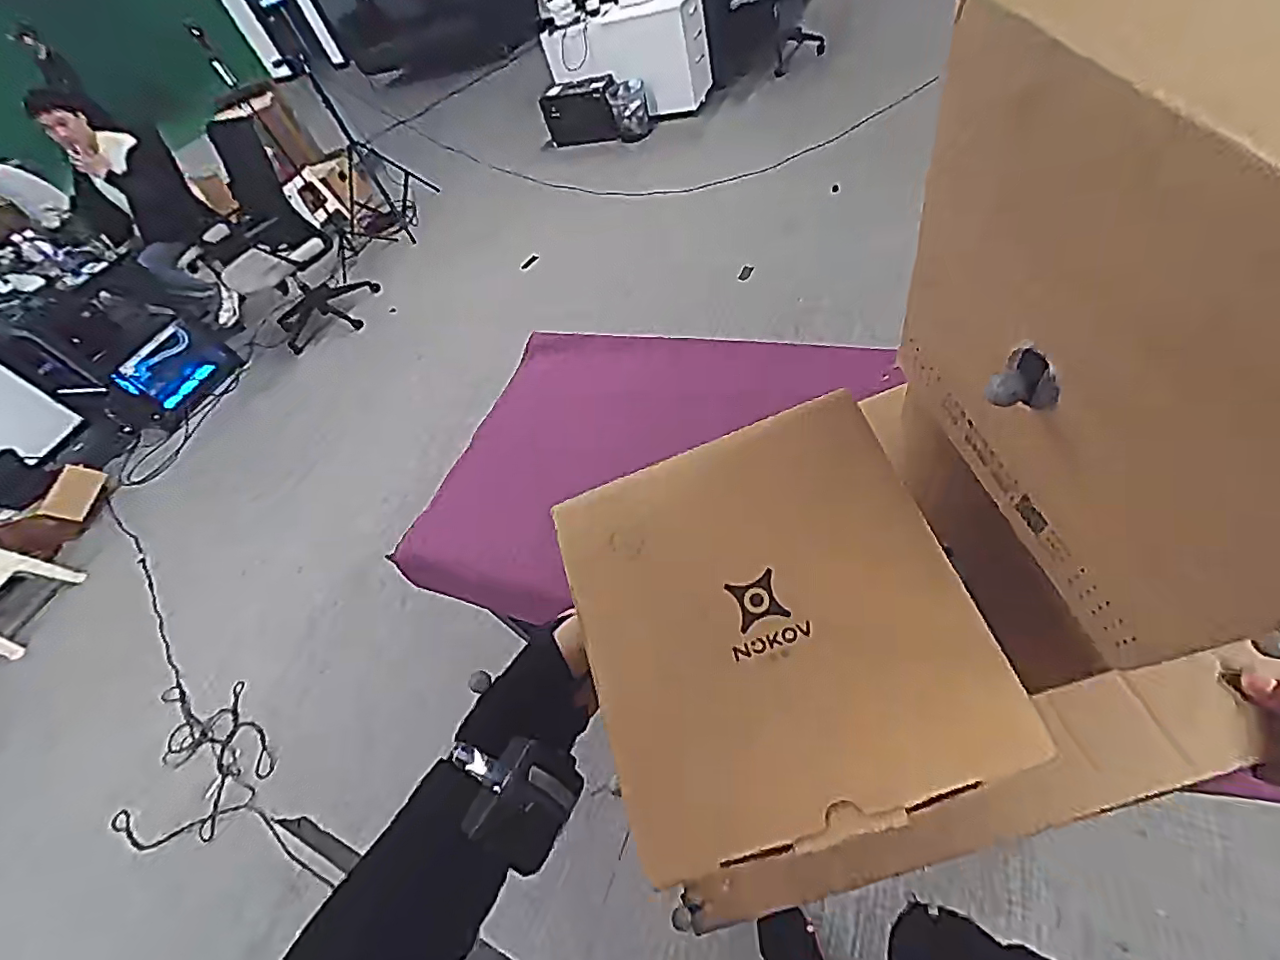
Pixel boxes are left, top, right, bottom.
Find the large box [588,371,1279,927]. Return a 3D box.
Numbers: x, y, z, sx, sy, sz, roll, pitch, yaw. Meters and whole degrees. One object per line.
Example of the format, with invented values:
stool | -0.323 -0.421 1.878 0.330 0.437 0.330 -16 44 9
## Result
large box | 0.219 0.149 0.525 0.408 0.320 0.320 -24 56 7
